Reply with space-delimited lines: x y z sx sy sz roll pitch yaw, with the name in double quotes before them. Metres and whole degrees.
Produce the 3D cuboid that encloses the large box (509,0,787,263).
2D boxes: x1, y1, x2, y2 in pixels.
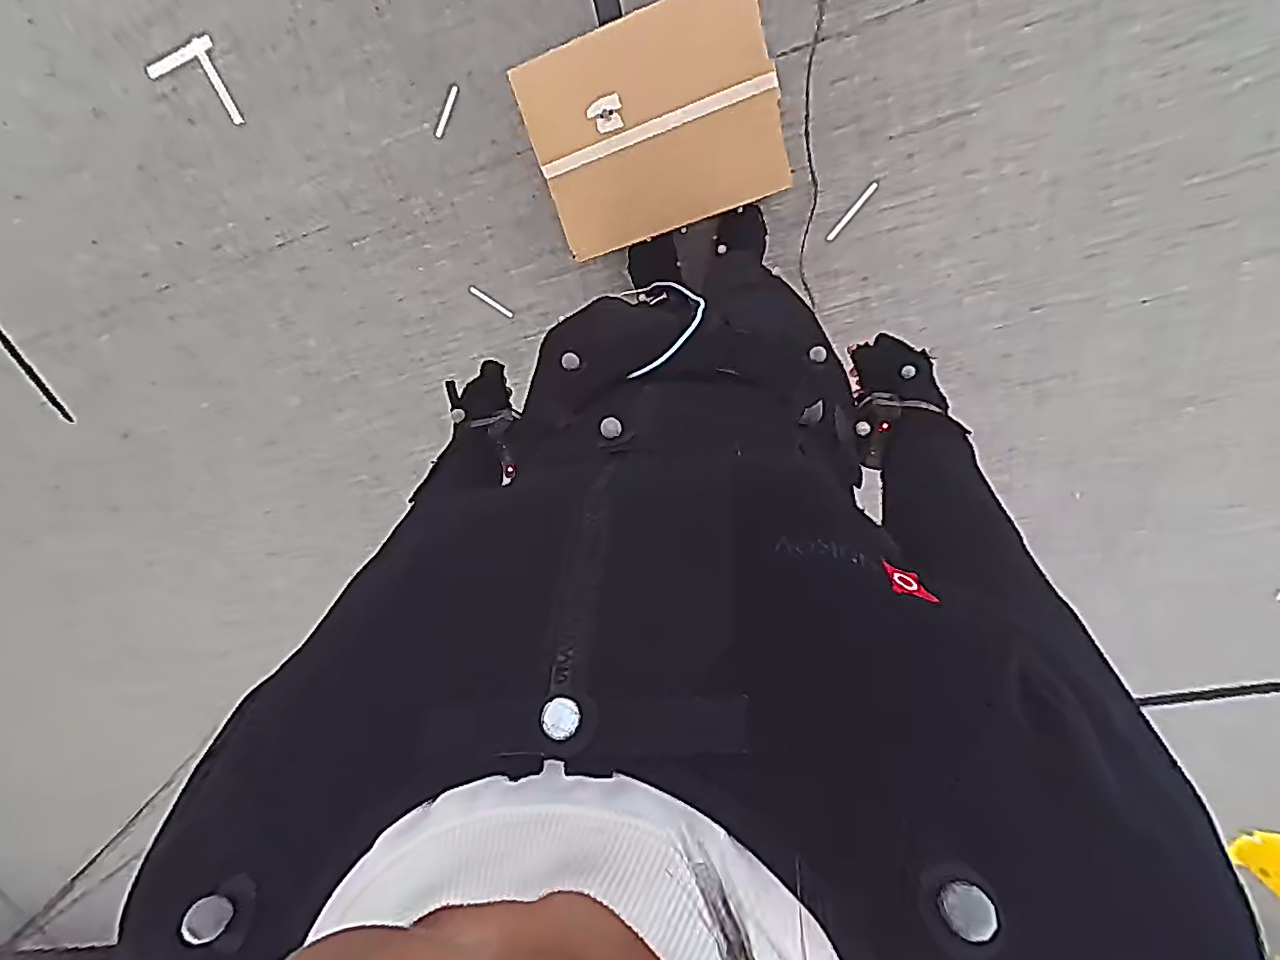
"large box" 0.033 -0.653 1.031 0.408 0.320 0.320 -14 114 14
